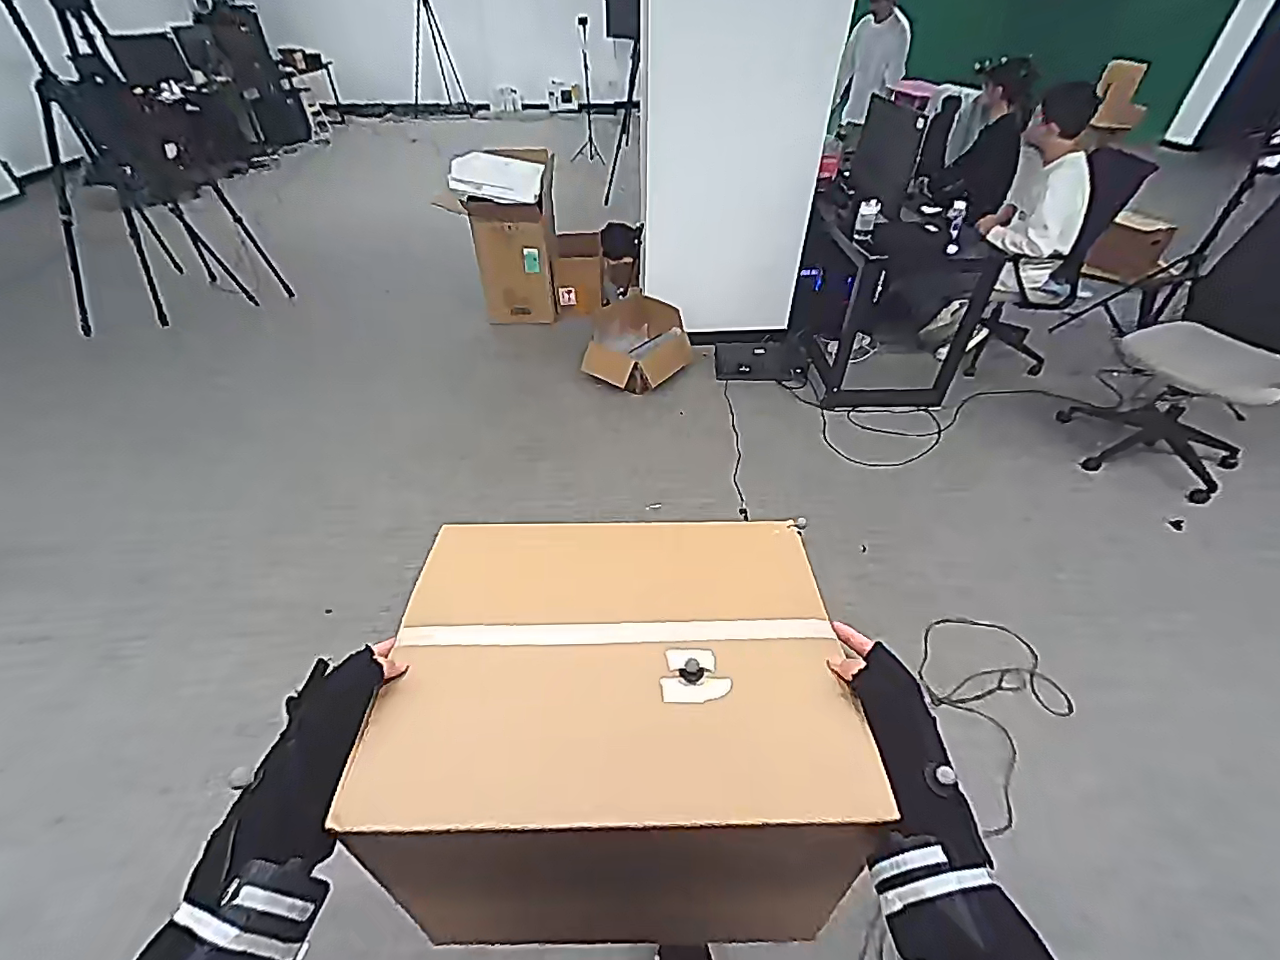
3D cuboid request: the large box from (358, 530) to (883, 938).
[{"bbox_3d":[-0.018,0.272,0.608,0.408,0.320,0.320,0,38,-1],"label":"large box"}]
